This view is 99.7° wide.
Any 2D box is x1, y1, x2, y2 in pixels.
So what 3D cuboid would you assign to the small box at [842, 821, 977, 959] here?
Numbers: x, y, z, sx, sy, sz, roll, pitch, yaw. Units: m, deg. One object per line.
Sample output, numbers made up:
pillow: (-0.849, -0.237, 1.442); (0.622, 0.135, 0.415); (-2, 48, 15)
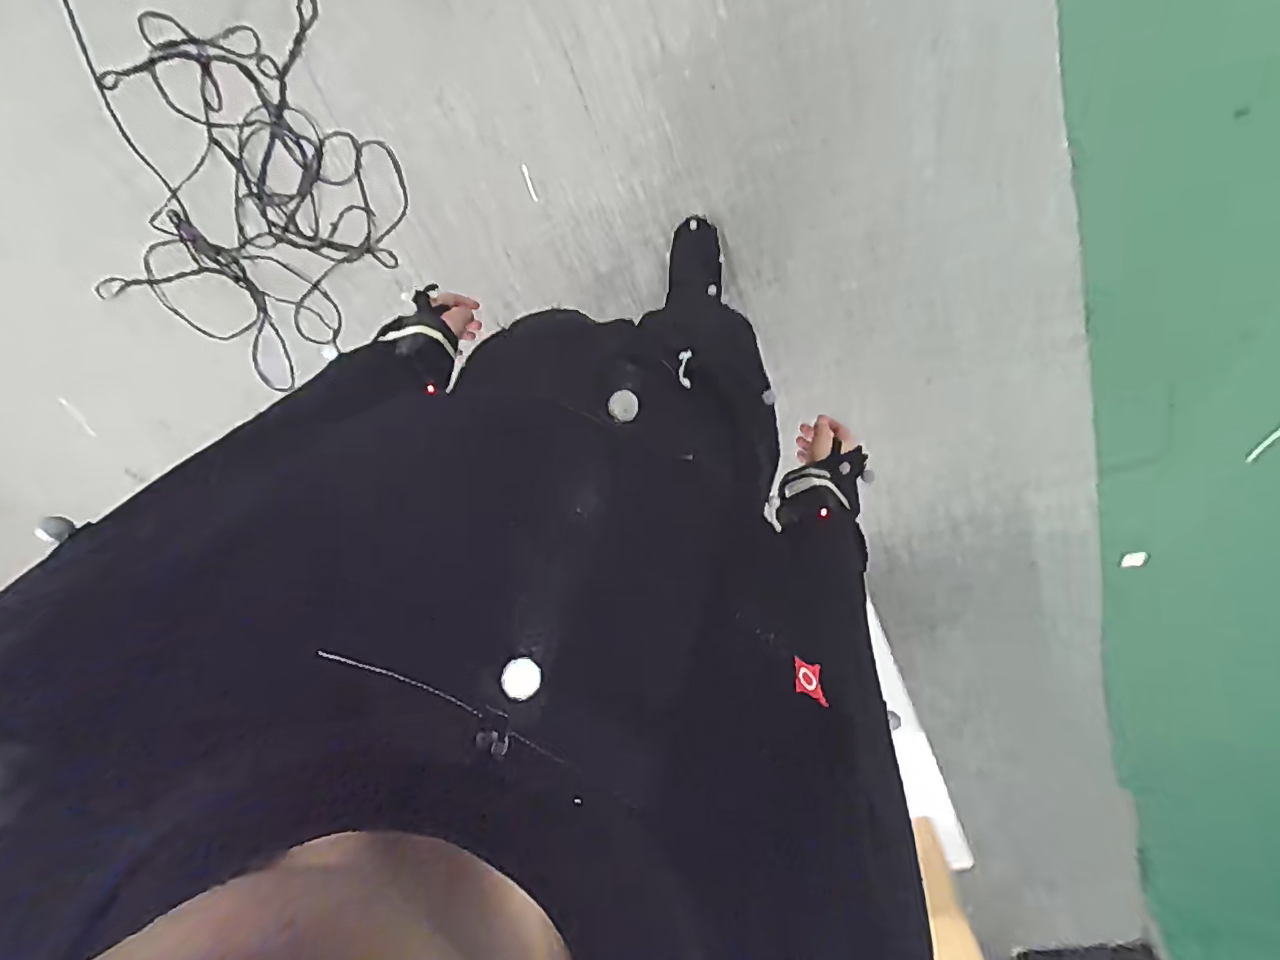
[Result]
small box: (0.486, 0.763, 0.985); (0.168, 0.176, 0.179); (-22, 110, 18)
